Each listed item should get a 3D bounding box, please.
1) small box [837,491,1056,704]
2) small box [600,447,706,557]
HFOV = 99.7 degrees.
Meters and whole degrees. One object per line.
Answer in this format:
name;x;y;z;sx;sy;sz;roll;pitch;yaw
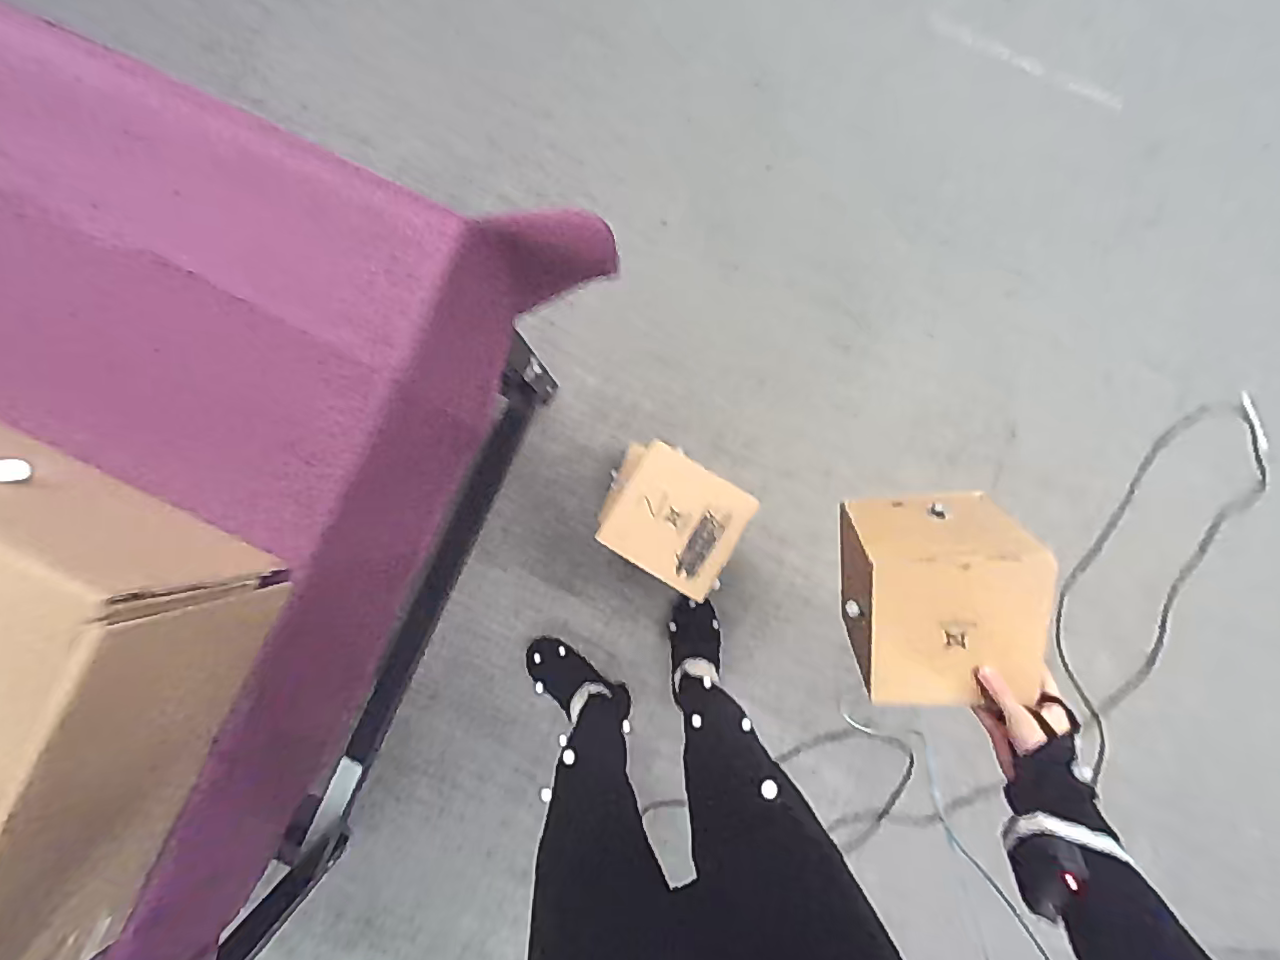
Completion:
small box;0.326;0.127;0.615;0.168;0.176;0.179;-5;110;10
small box;0.025;0.045;1.164;0.168;0.176;0.179;24;89;1
